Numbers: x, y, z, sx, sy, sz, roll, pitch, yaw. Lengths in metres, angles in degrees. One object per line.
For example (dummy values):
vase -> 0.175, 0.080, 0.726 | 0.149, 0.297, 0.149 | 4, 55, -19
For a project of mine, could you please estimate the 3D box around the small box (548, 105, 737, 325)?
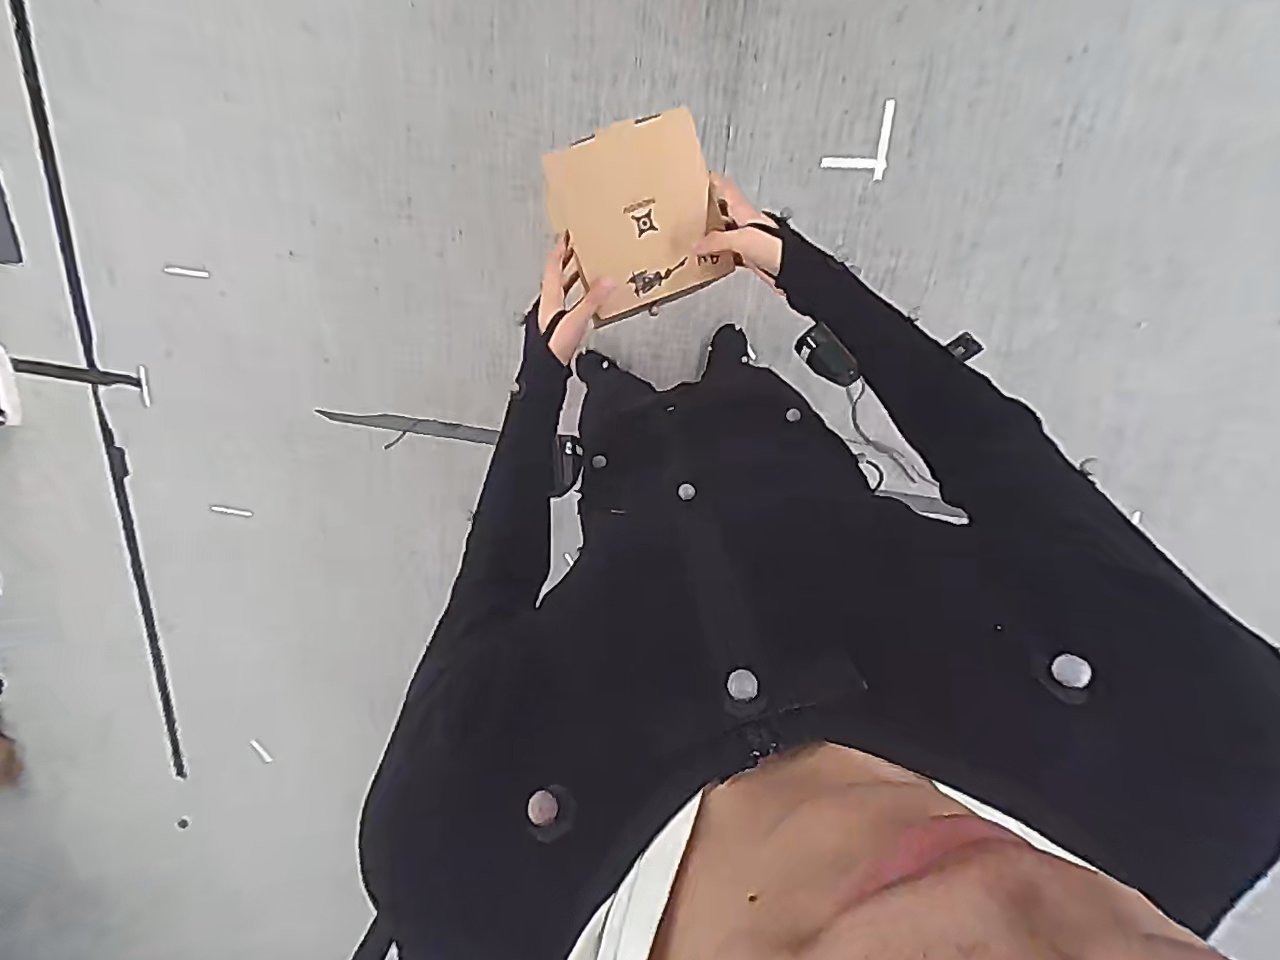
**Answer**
small box -> -0.006, -0.300, 0.651 | 0.168, 0.176, 0.179 | -21, 105, -4
